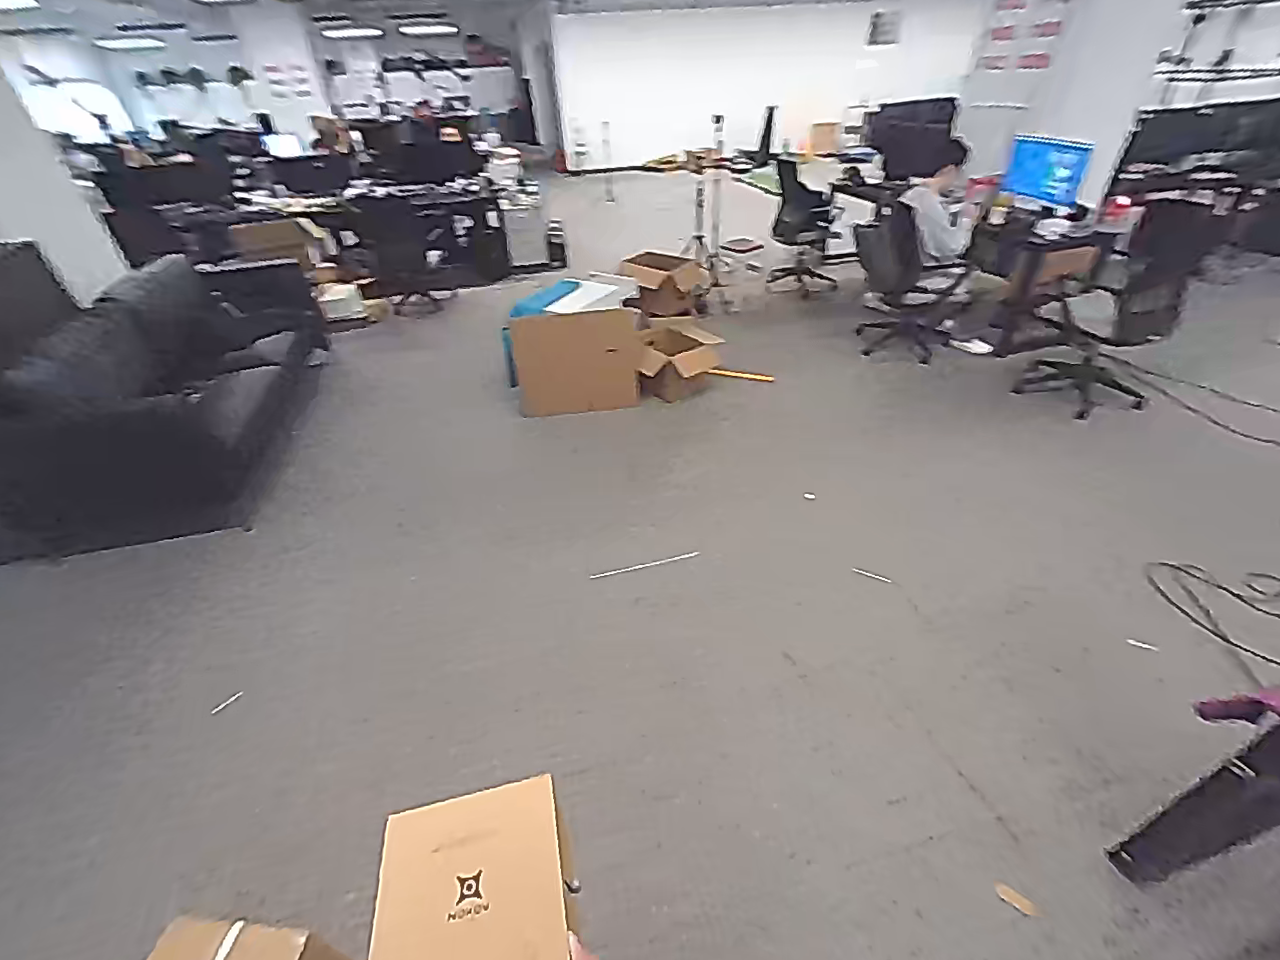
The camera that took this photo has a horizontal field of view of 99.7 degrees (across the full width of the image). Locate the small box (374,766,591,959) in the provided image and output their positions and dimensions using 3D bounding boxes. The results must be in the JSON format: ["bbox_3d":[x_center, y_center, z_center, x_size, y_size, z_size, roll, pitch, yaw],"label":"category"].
[{"bbox_3d":[-0.142,0.424,0.532,0.168,0.176,0.179,-9,36,-8],"label":"small box"}]
